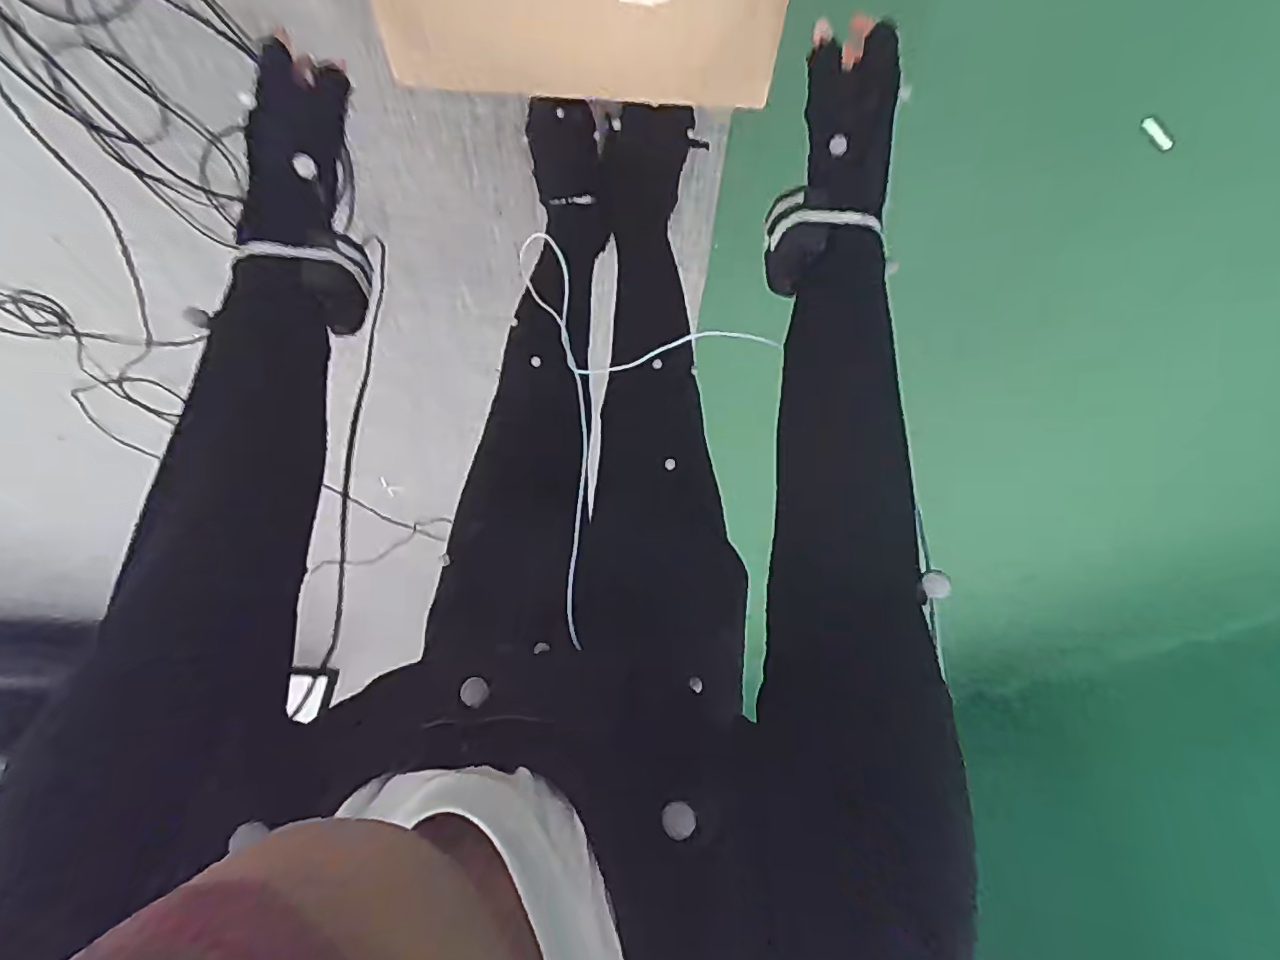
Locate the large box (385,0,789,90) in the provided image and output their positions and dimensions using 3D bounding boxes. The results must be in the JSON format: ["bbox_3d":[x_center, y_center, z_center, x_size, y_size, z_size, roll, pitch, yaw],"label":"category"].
[{"bbox_3d":[-0.049,-0.637,0.535,0.408,0.320,0.320,2,149,-2],"label":"large box"}]
